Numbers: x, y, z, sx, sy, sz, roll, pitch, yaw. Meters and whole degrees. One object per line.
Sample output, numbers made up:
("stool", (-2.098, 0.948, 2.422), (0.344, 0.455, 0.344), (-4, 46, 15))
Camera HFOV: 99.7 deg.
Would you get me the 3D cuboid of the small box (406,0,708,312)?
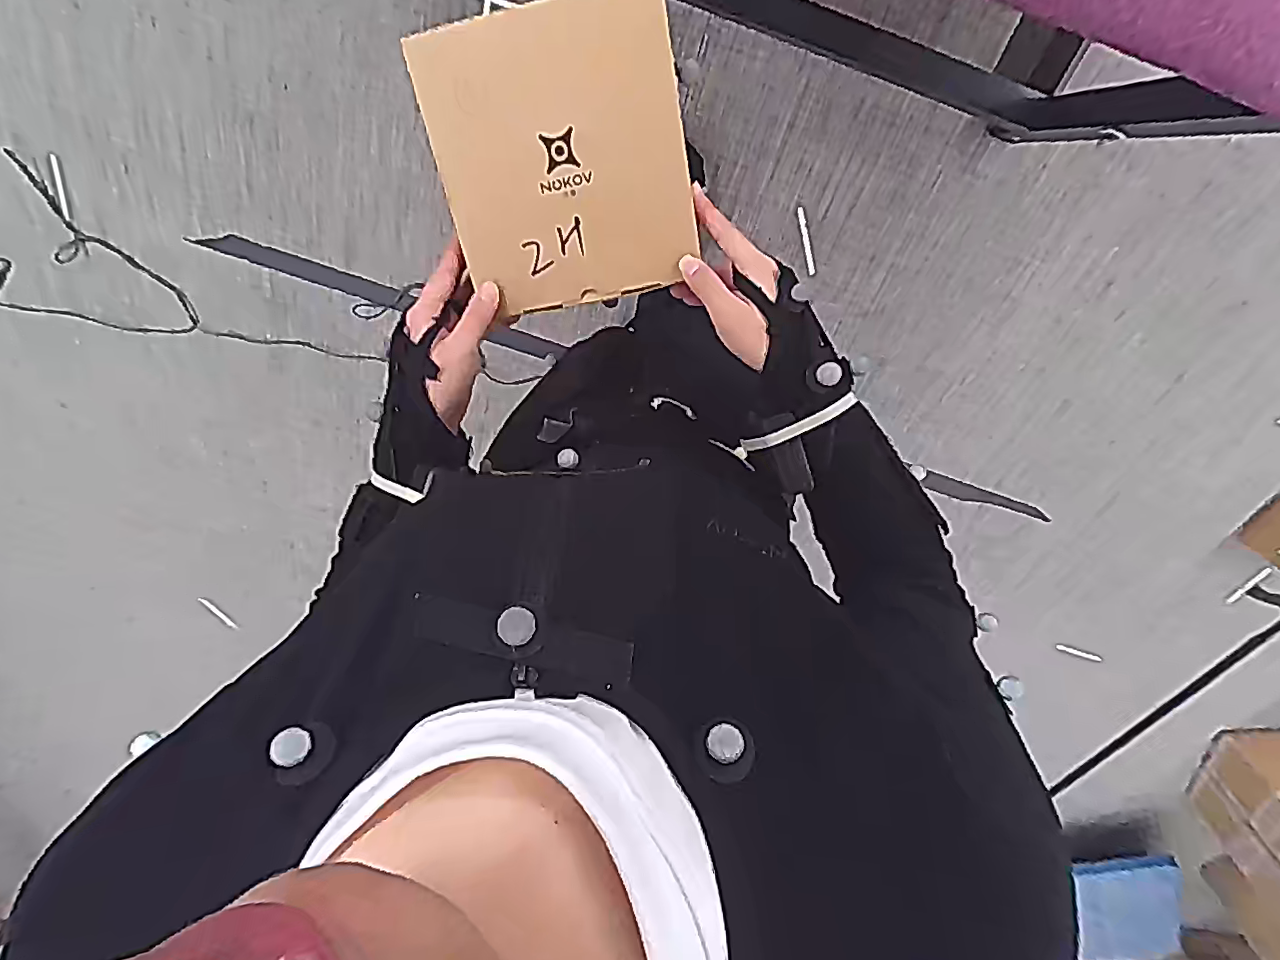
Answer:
("small box", (-0.044, -0.241, 0.422), (0.168, 0.176, 0.179), (-9, 113, 8))
